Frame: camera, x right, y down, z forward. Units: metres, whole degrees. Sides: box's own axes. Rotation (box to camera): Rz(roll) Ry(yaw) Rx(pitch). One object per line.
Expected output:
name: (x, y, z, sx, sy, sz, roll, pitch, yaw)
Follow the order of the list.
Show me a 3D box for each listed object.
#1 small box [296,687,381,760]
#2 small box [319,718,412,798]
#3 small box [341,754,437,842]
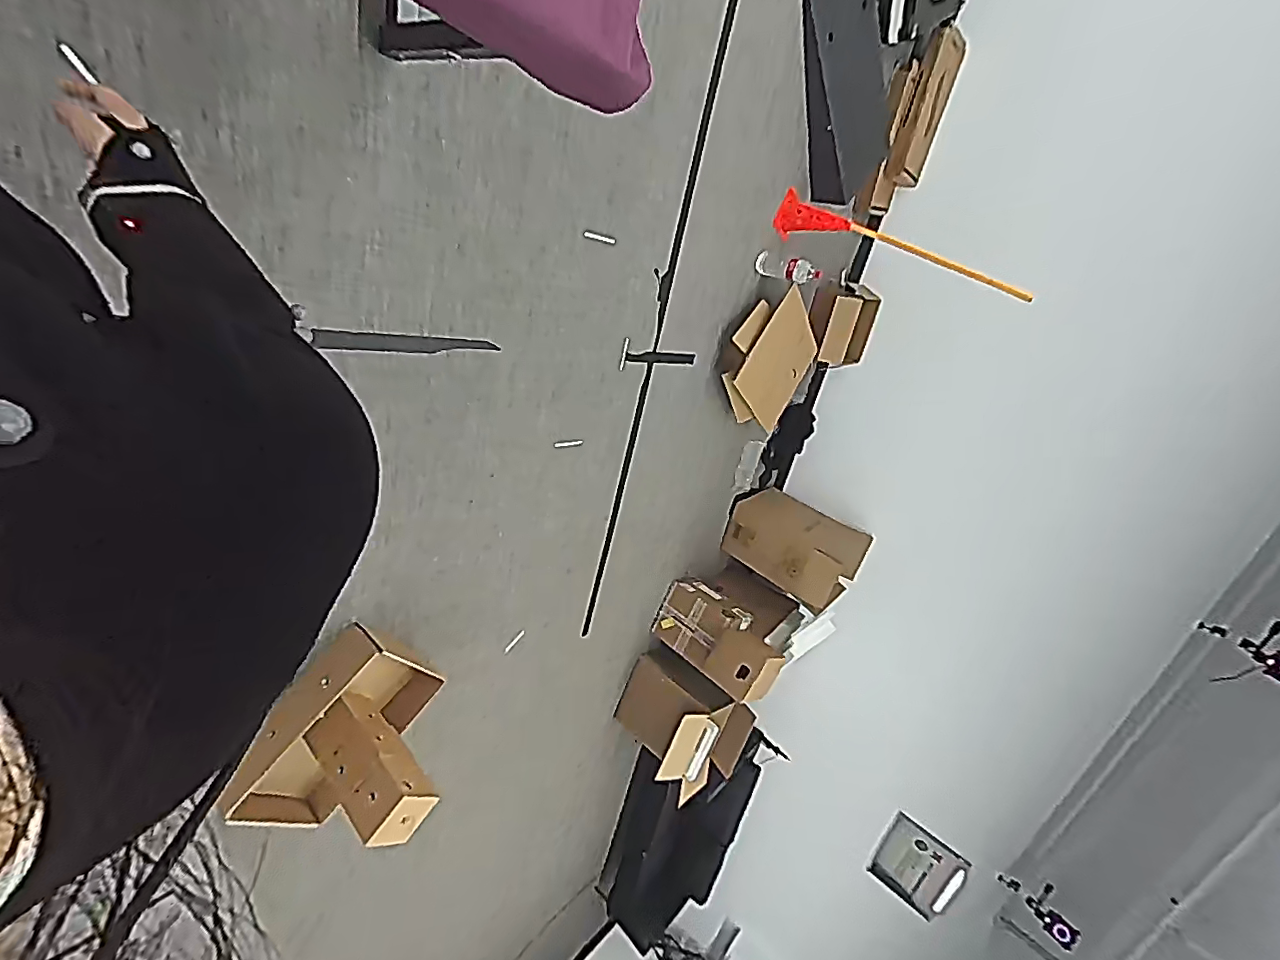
small box: (-1.015, 0.833, 1.836, 0.168, 0.176, 0.179, -50, 146, -16)
small box: (-0.892, 0.898, 1.754, 0.168, 0.176, 0.179, -51, 148, -12)
small box: (-0.775, 0.972, 1.663, 0.168, 0.176, 0.179, -51, 146, -11)
